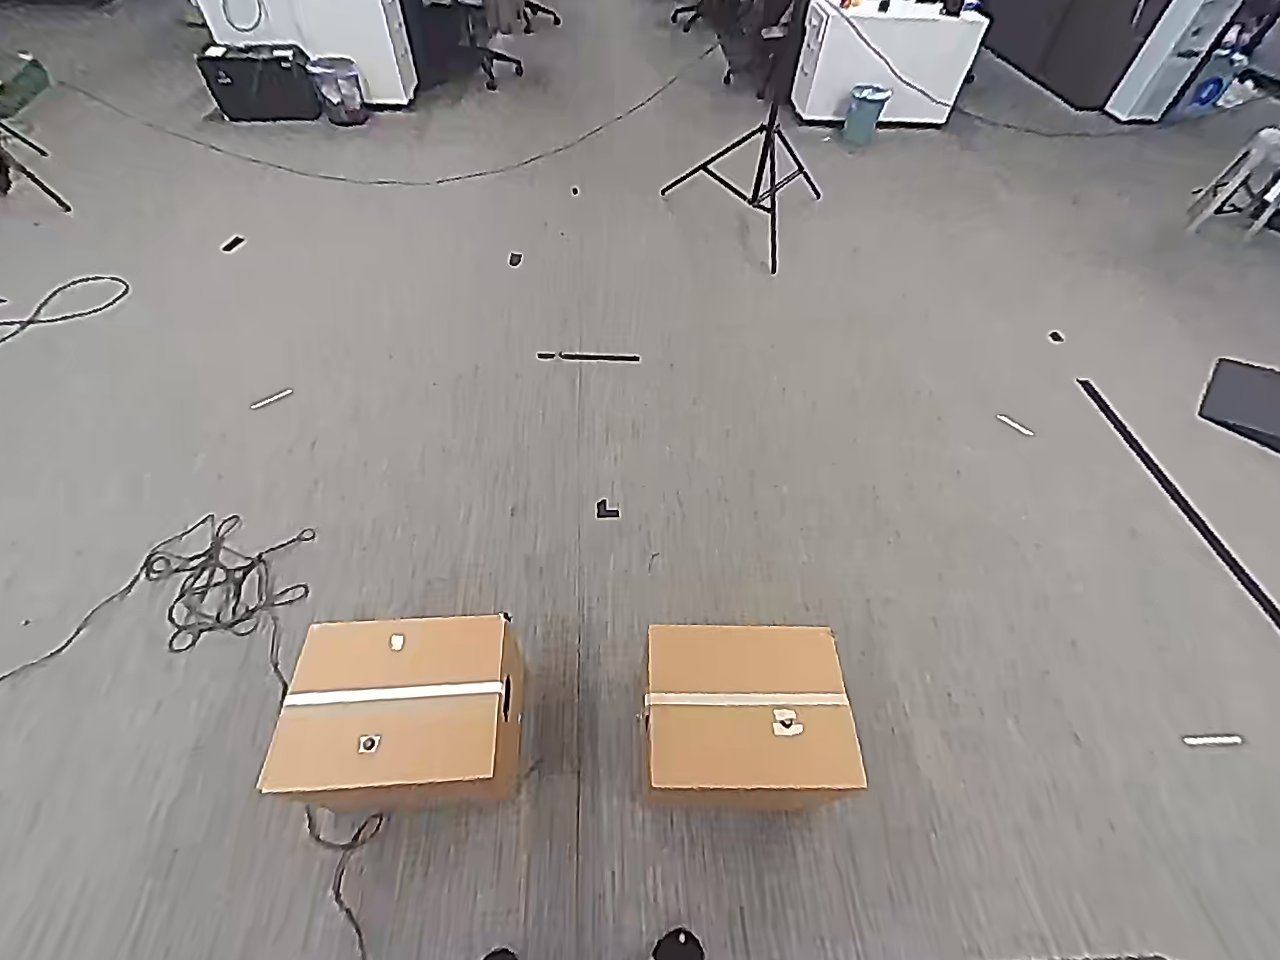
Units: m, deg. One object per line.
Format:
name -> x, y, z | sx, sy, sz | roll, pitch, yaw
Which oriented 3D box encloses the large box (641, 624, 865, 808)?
large box -> 0.214, 0.531, 1.208 | 0.408, 0.320, 0.320 | 2, 53, -3
